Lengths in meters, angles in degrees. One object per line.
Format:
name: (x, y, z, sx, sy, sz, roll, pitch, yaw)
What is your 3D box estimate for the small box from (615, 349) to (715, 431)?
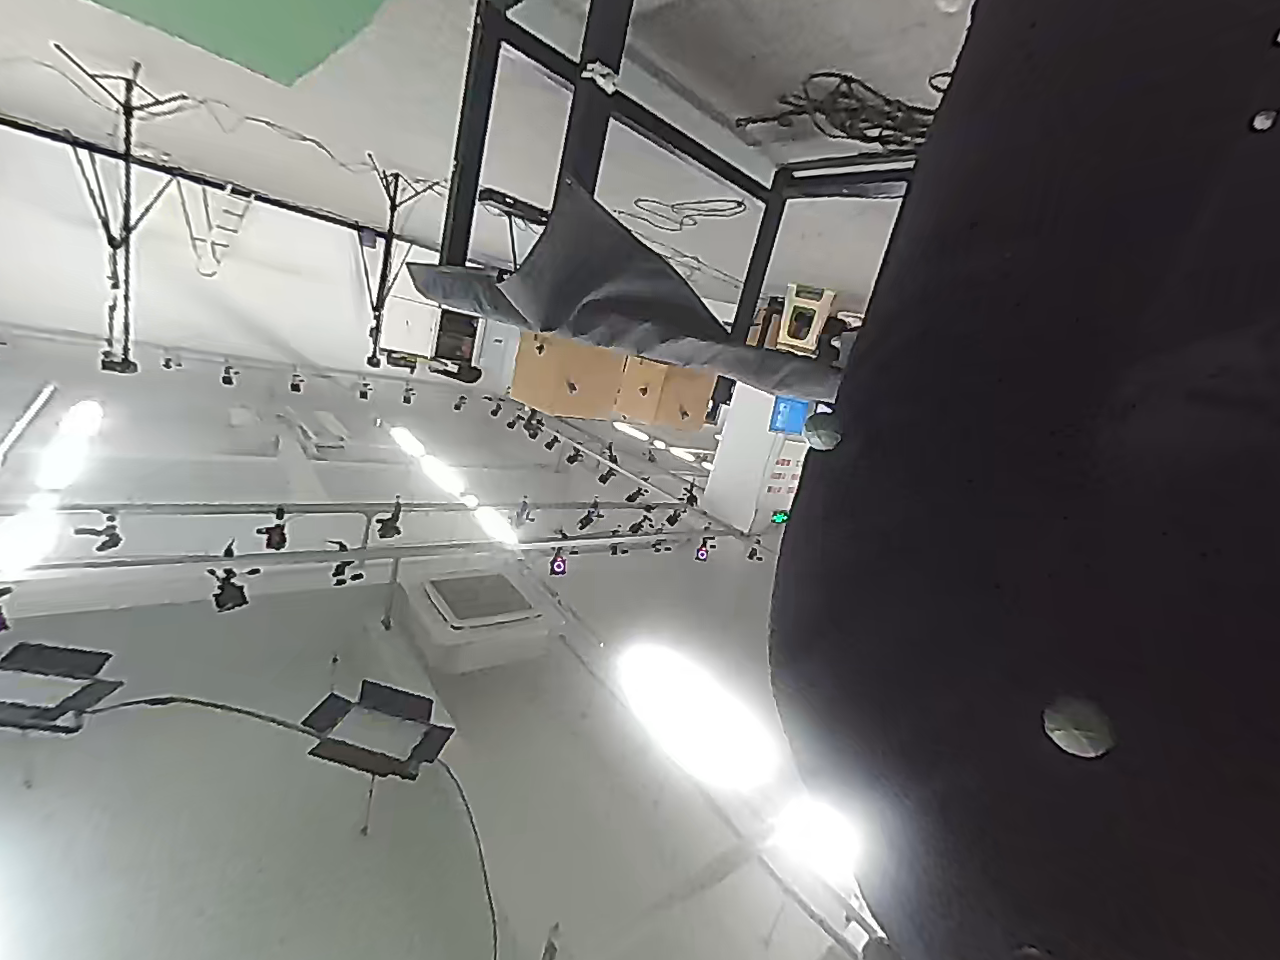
small box: (0.064, -0.235, 1.394, 0.179, 0.176, 0.168, 2, -161, -39)
